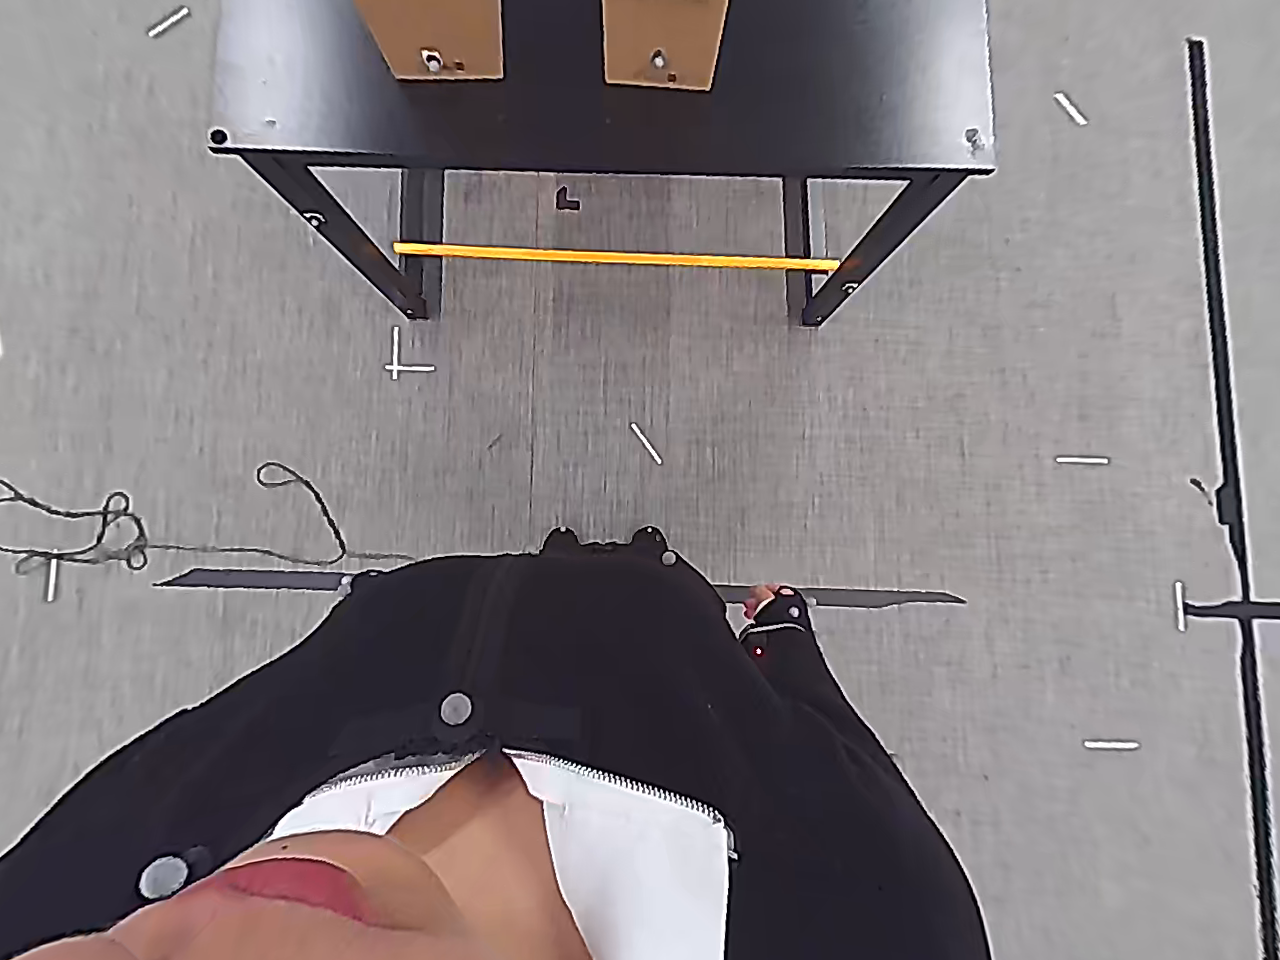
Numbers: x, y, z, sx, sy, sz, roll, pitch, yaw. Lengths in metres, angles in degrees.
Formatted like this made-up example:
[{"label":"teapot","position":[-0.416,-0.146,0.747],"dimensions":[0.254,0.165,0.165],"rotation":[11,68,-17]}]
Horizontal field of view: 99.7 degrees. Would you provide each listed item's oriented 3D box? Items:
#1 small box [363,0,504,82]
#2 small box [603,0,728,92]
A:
[{"label":"small box","position":[-0.292,-0.706,0.758],"dimensions":[0.168,0.176,0.179],"rotation":[-3,86,-1]},{"label":"small box","position":[0.035,-0.705,0.768],"dimensions":[0.168,0.176,0.179],"rotation":[4,85,-2]}]
